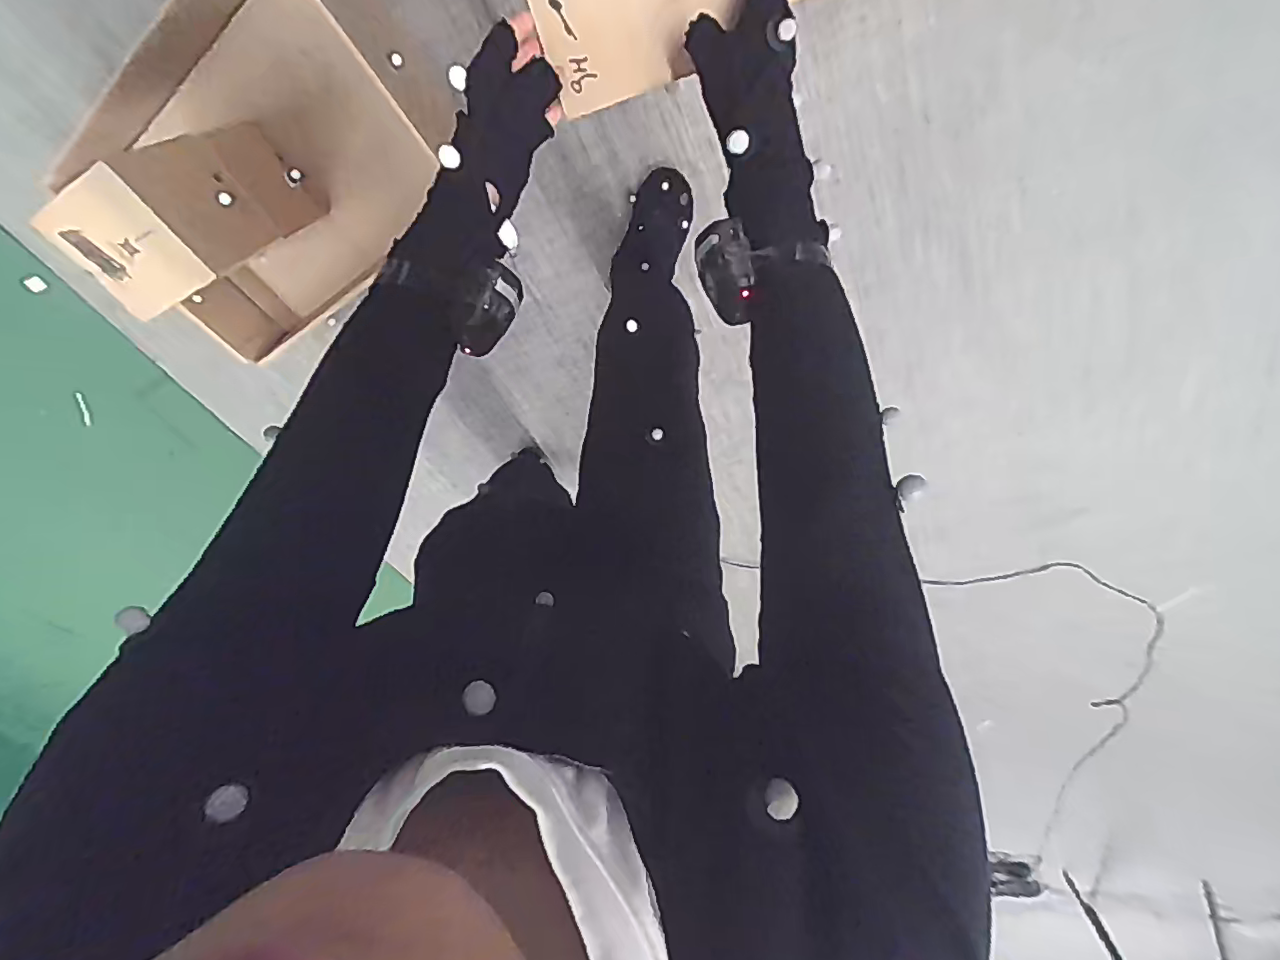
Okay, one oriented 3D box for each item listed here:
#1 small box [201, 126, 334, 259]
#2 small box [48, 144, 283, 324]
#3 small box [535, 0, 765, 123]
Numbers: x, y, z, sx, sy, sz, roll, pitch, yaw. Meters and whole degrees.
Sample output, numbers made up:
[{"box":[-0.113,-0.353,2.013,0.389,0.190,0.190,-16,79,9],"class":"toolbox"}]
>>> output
[{"box":[-0.682,-0.480,0.939,0.179,0.176,0.168,-18,128,18],"class":"small box"},{"box":[-0.696,-0.372,0.817,0.179,0.176,0.168,-18,128,19],"class":"small box"},{"box":[0.007,-0.451,0.484,0.179,0.176,0.168,-9,128,15],"class":"small box"}]
